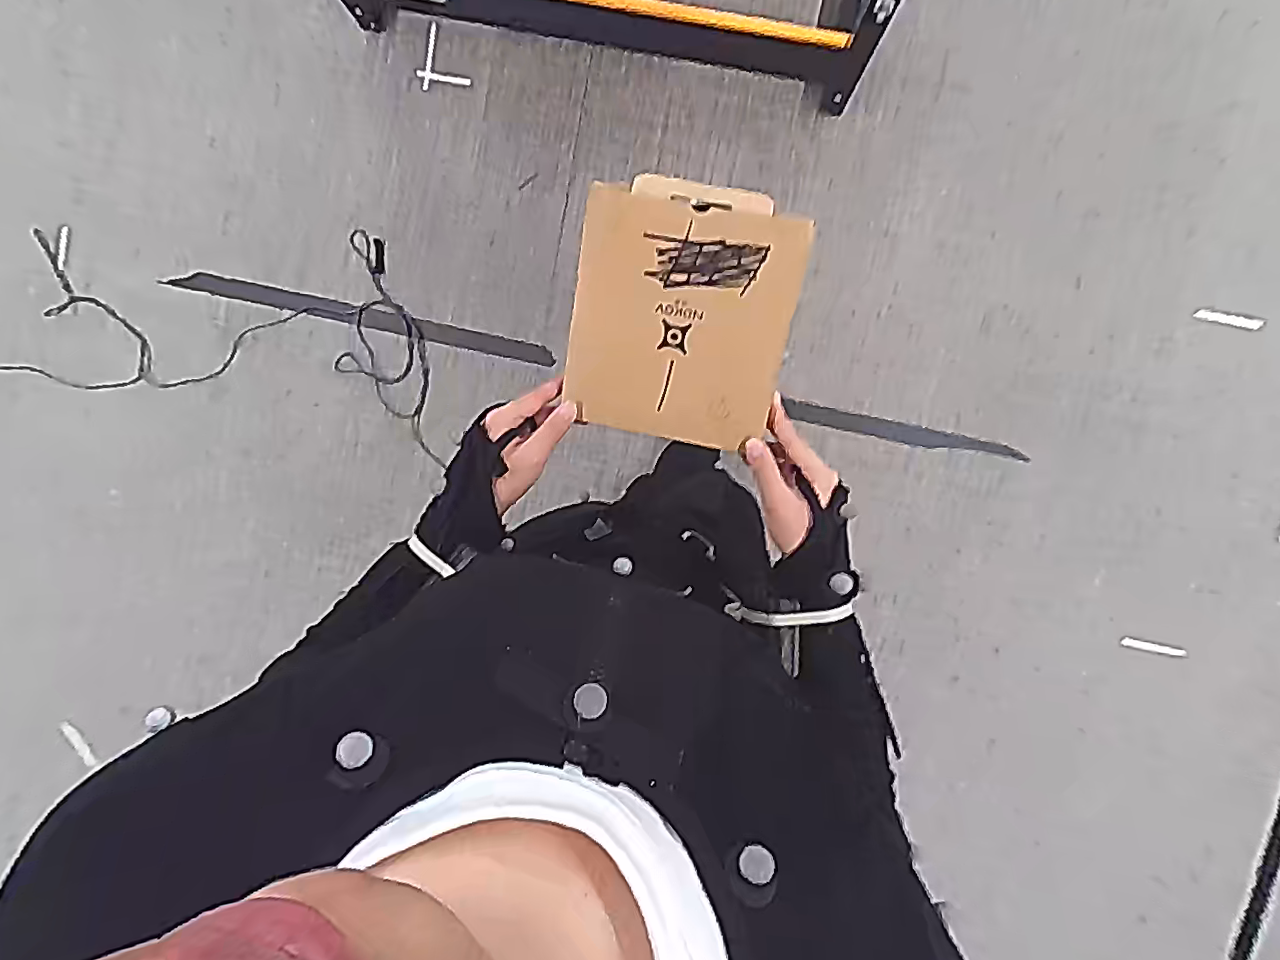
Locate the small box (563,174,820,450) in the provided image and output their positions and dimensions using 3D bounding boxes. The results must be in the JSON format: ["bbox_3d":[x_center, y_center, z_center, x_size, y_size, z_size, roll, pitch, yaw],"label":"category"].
[{"bbox_3d":[0.042,-0.141,0.482,0.168,0.176,0.179,12,106,4],"label":"small box"}]

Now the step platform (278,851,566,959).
[{"bbox_3d":[-0.546,1.211,1.379,0.684,0.204,0.286,11,95,1],"label":"step platform"}]
